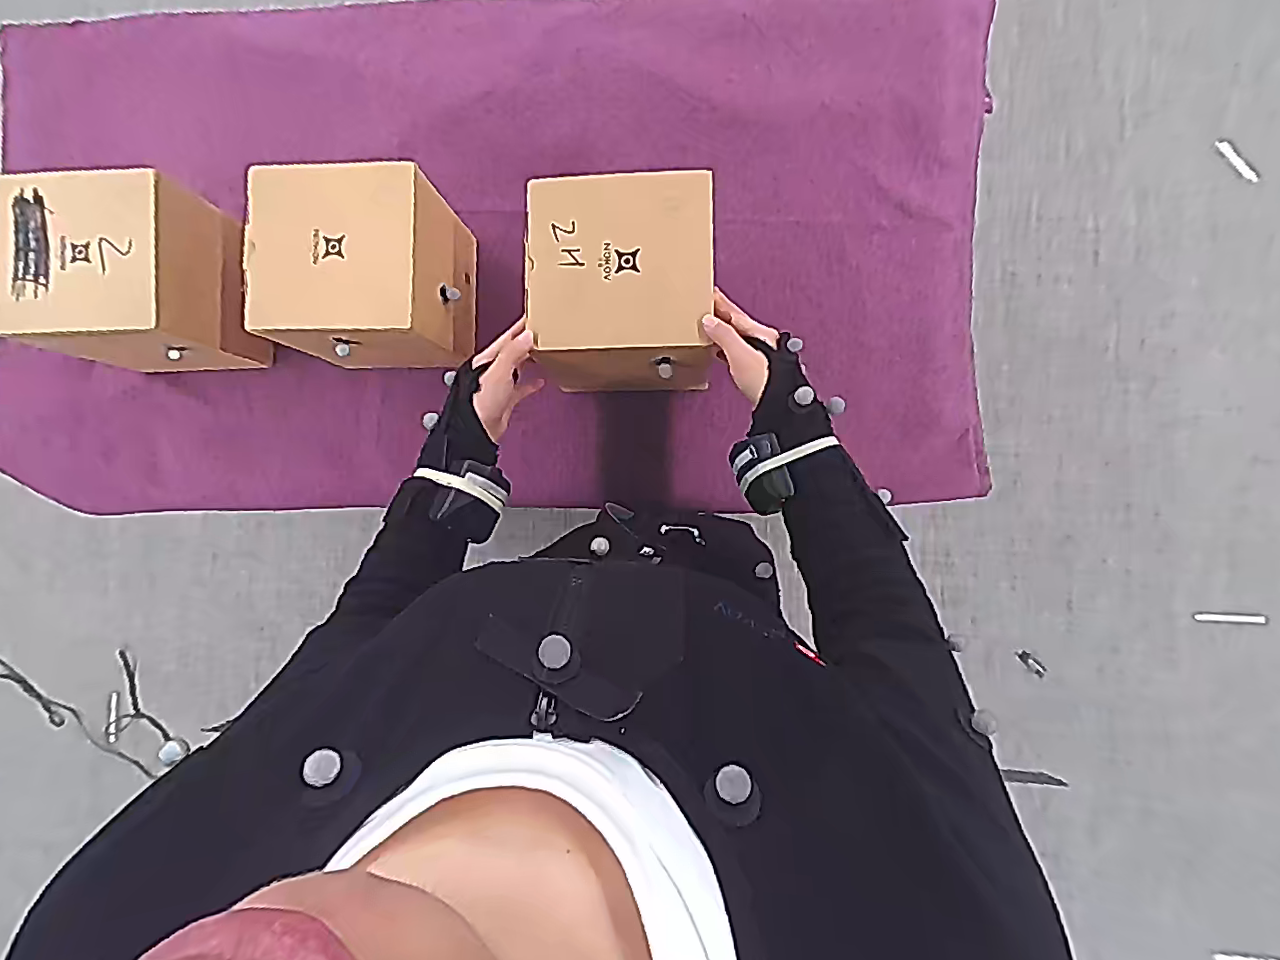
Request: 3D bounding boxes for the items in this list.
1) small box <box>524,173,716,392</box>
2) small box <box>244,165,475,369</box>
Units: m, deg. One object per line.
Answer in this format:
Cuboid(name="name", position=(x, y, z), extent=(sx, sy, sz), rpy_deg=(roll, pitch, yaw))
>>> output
Cuboid(name="small box", position=(-0.013, -0.193, 0.572), extent=(0.179, 0.176, 0.168), rpy_deg=(0, 86, 5))
Cuboid(name="small box", position=(-0.297, -0.224, 0.608), extent=(0.179, 0.176, 0.168), rpy_deg=(1, 89, 5))
